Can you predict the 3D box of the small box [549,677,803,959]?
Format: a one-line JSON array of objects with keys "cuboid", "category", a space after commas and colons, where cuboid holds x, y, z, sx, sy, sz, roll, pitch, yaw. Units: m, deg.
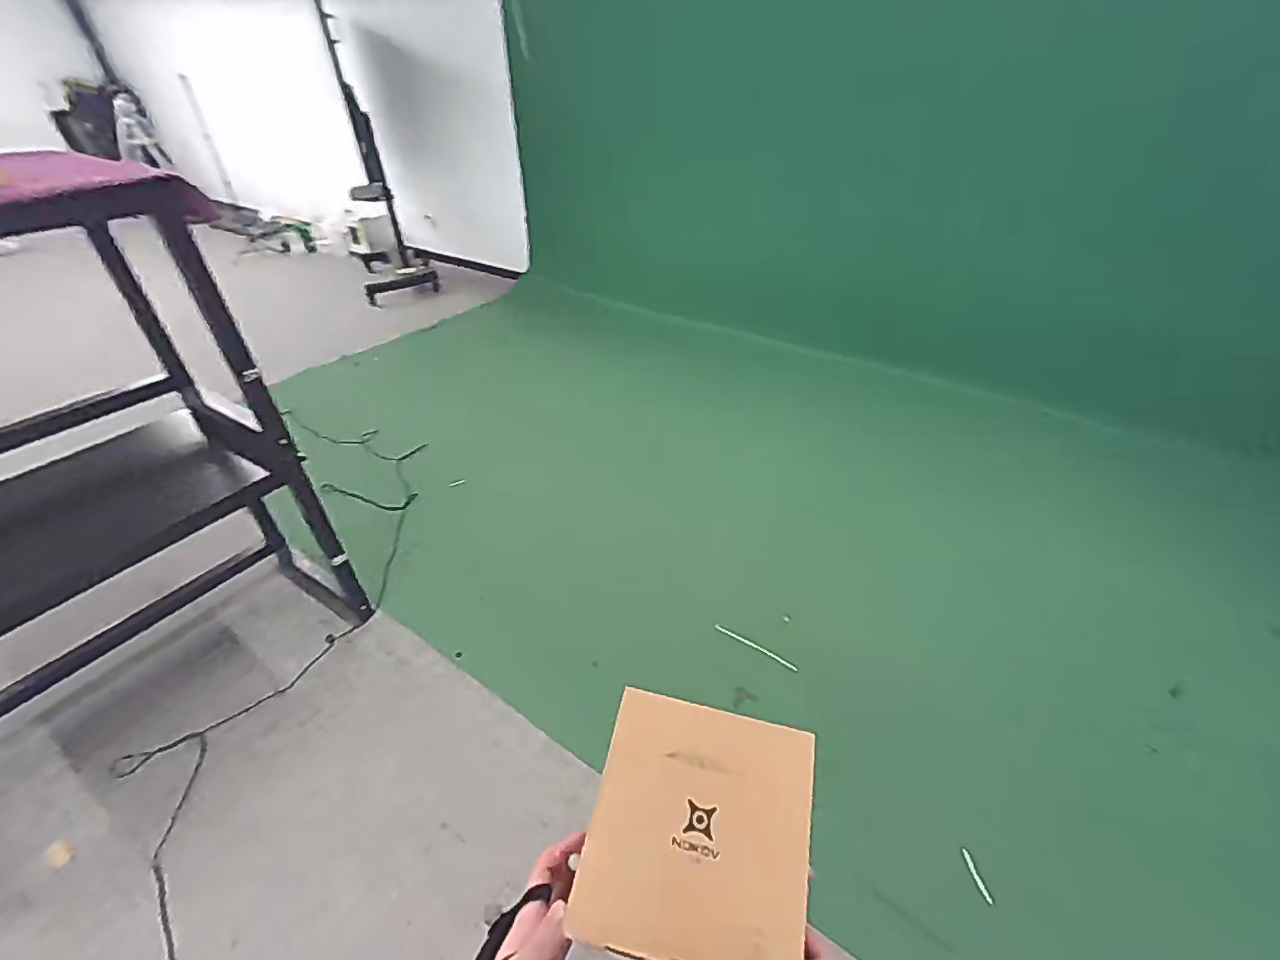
[{"cuboid": [0.036, 0.304, 0.474, 0.168, 0.176, 0.179, 11, 52, 9], "category": "small box"}]
